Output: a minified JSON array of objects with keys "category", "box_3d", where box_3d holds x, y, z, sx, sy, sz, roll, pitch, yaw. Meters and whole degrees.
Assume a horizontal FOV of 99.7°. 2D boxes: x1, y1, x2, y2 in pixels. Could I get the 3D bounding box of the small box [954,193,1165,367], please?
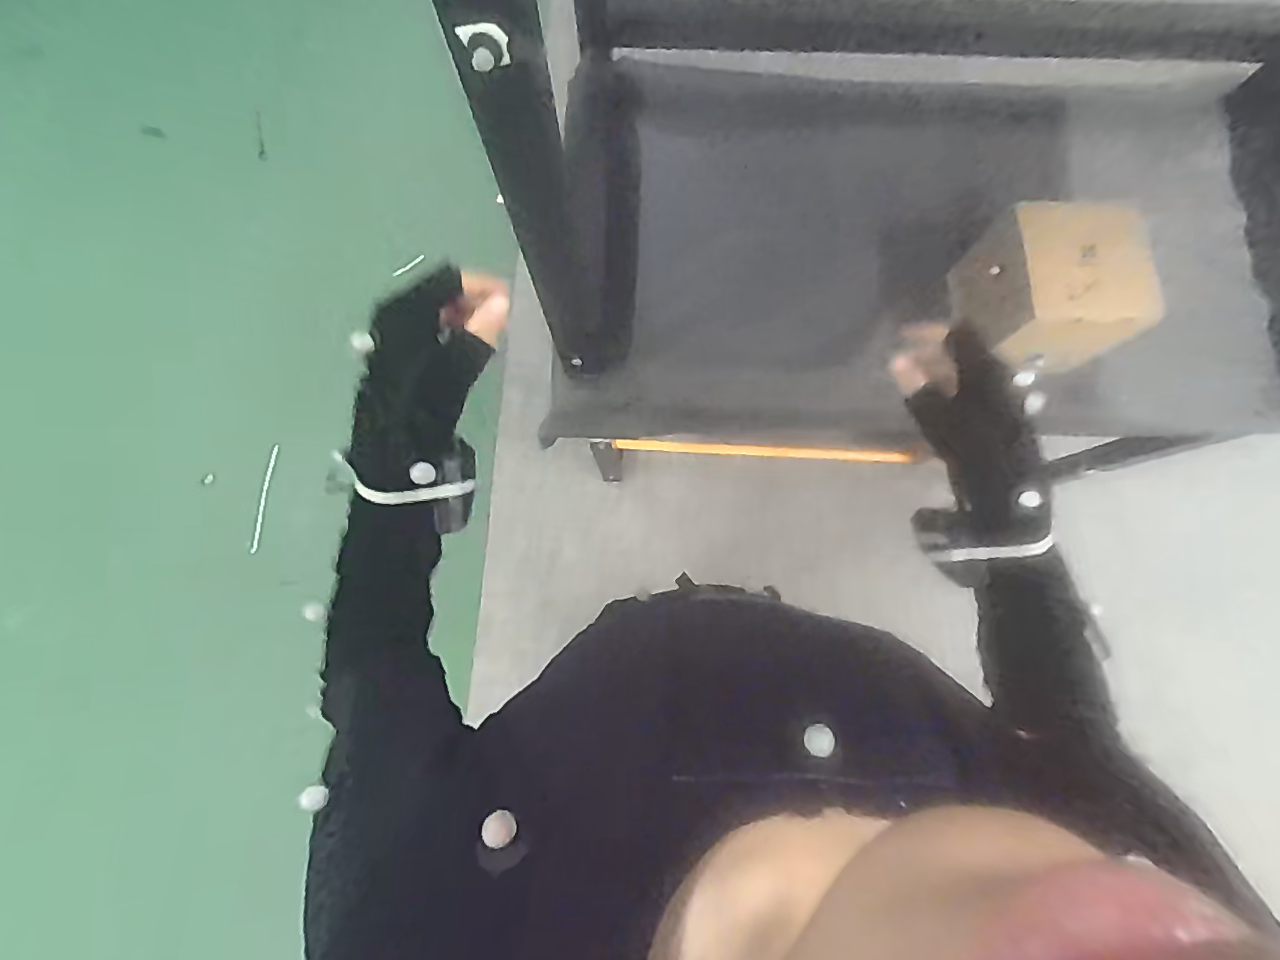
[{"category":"small box","box_3d":[0.582,-0.279,0.779,0.168,0.176,0.179,0,77,1]}]
